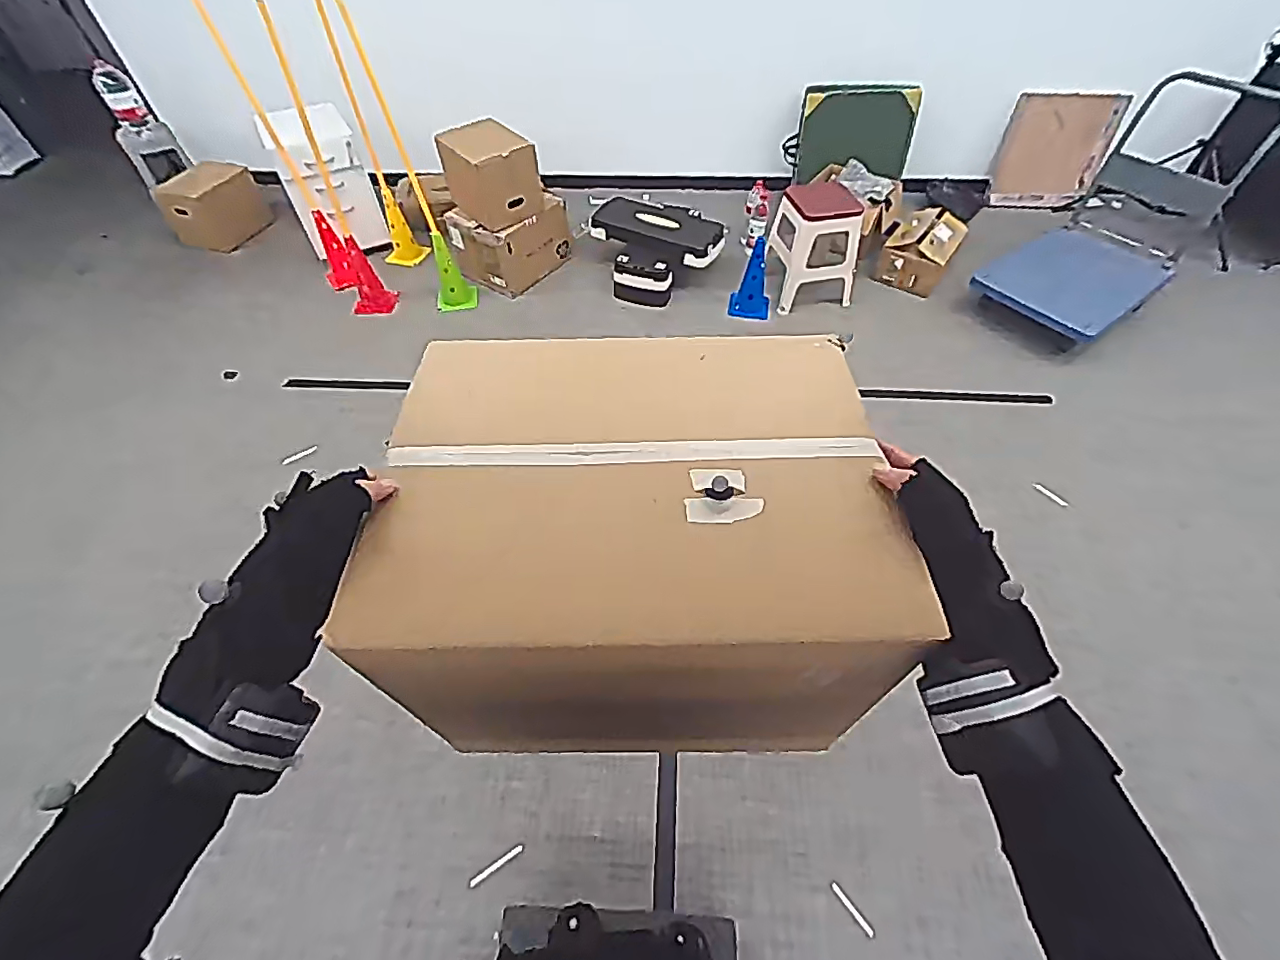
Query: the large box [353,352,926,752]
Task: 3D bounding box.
[{"bbox_3d":[-0.003,0.084,0.576,0.408,0.320,0.320,0,52,0],"label":"large box"}]
